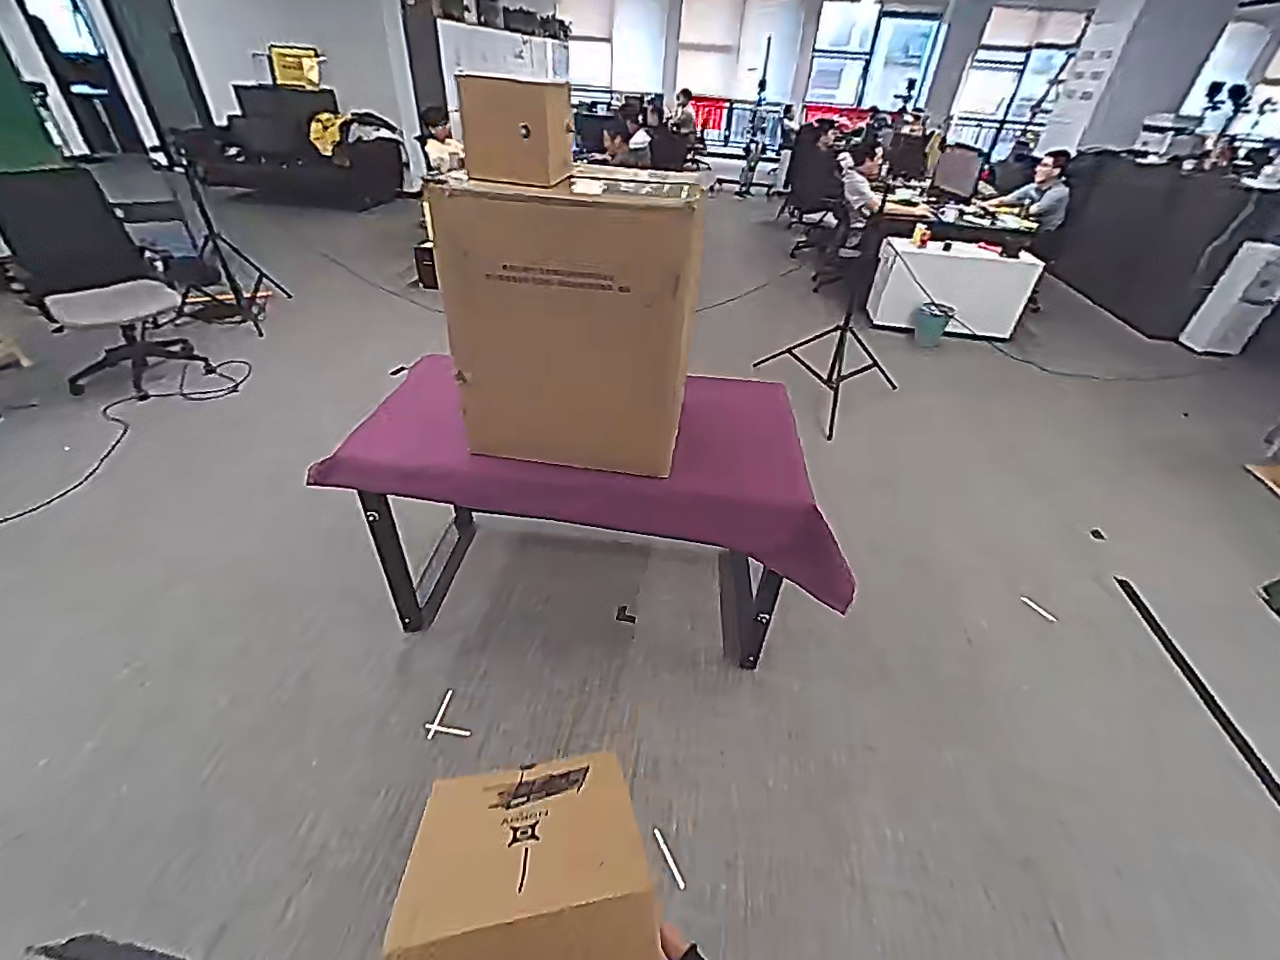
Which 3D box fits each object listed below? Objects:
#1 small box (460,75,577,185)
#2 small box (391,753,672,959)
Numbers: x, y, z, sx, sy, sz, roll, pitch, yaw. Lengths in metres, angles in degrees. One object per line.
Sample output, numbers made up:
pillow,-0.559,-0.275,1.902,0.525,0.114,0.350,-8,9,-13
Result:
small box,-0.230,-0.693,1.073,0.179,0.176,0.168,9,37,6
small box,-0.073,0.338,0.404,0.168,0.176,0.179,-6,-1,-11
